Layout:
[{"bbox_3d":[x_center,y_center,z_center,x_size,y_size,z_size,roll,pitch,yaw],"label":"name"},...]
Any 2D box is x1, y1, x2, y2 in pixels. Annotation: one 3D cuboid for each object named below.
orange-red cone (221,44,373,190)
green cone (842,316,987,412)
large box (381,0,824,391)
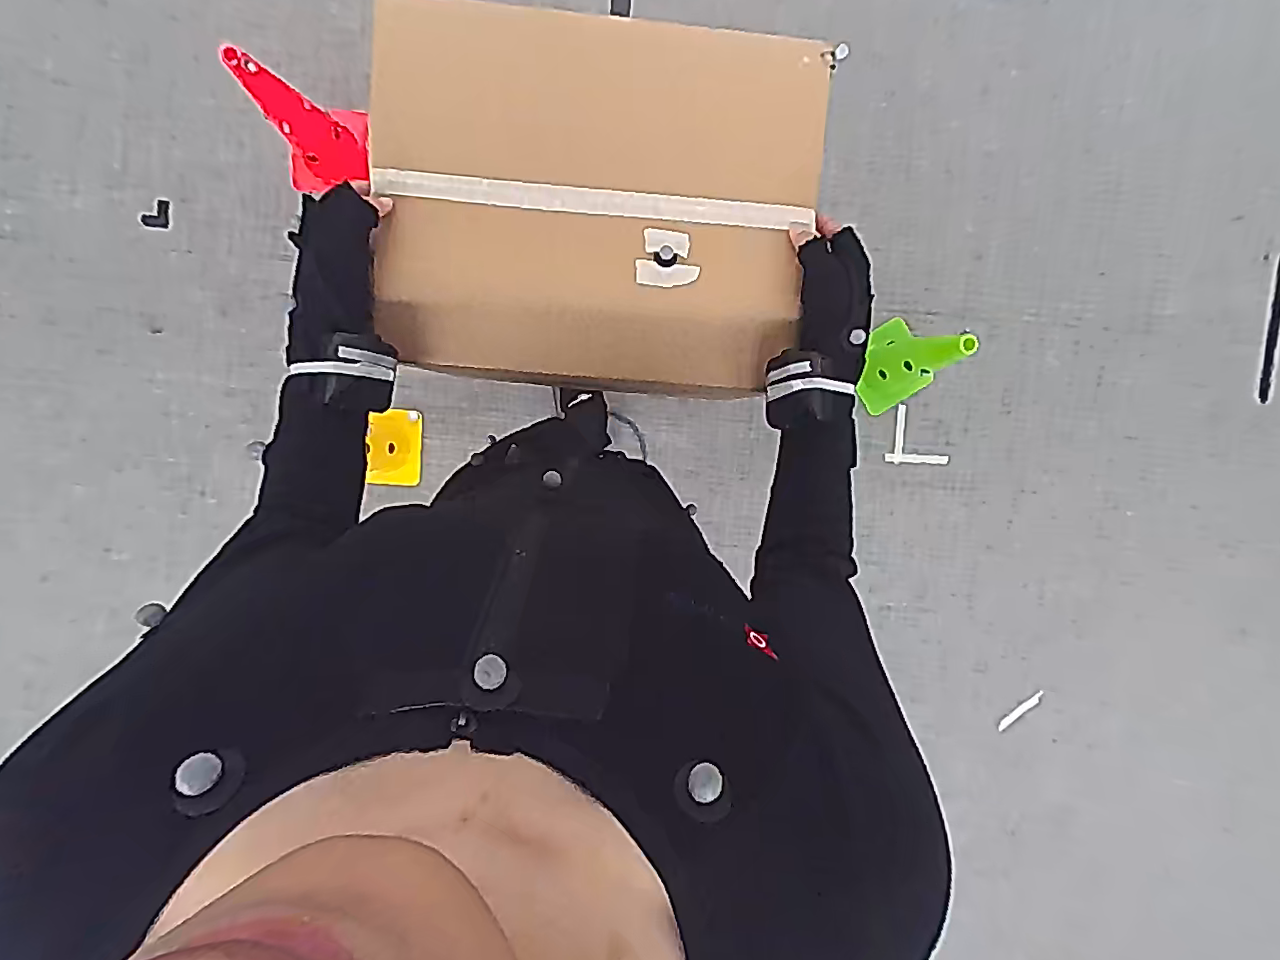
[{"bbox_3d":[-0.773,-0.820,1.195,0.198,0.360,0.199,3,96,0],"label":"orange-red cone"},{"bbox_3d":[0.670,-0.293,1.268,0.202,0.368,0.200,-33,96,0],"label":"green cone"},{"bbox_3d":[-0.046,-0.280,0.648,0.408,0.320,0.320,4,97,-3],"label":"large box"}]
